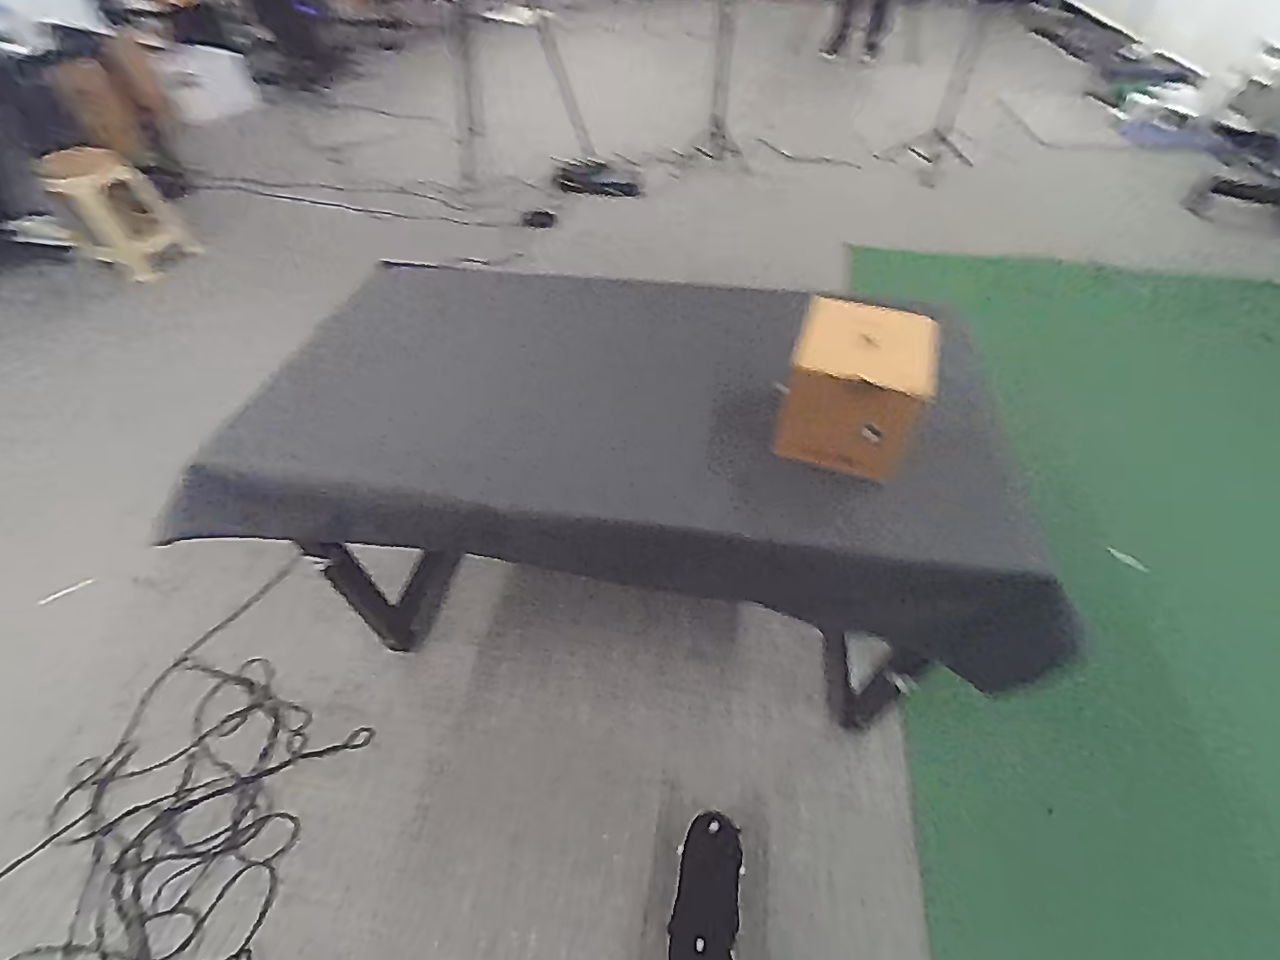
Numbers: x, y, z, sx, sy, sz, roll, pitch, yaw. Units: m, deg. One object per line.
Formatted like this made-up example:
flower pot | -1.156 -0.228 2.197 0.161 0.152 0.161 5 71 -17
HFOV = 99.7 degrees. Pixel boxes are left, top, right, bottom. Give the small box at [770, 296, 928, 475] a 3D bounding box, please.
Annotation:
small box | 0.294 -0.134 0.779 0.168 0.176 0.179 16 50 13
